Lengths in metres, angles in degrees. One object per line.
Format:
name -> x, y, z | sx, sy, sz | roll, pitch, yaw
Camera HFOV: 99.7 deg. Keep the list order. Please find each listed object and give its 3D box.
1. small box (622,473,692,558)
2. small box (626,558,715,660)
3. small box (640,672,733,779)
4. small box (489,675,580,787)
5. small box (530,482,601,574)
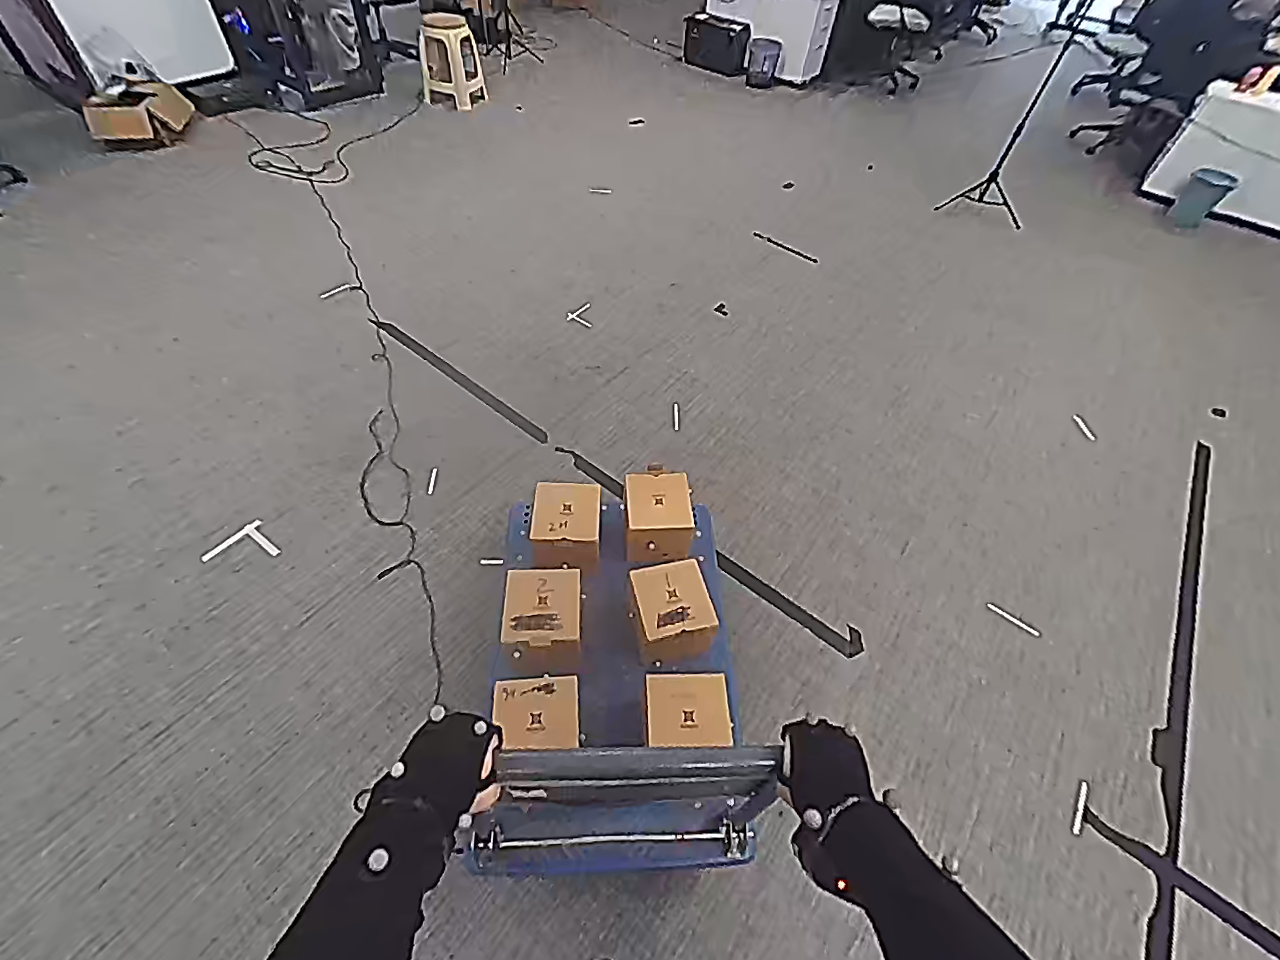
small box -> 0.039, 0.101, 1.457 | 0.168, 0.176, 0.179 | -2, 52, -6
small box -> 0.066, 0.314, 1.290 | 0.168, 0.176, 0.179 | -9, 52, -12
small box -> 0.090, 0.518, 1.132 | 0.168, 0.176, 0.179 | 2, 51, -5
small box -> -0.207, 0.516, 1.104 | 0.168, 0.176, 0.179 | -1, 52, -8
small box -> -0.190, 0.126, 1.414 | 0.168, 0.176, 0.179 | 2, 52, -3
